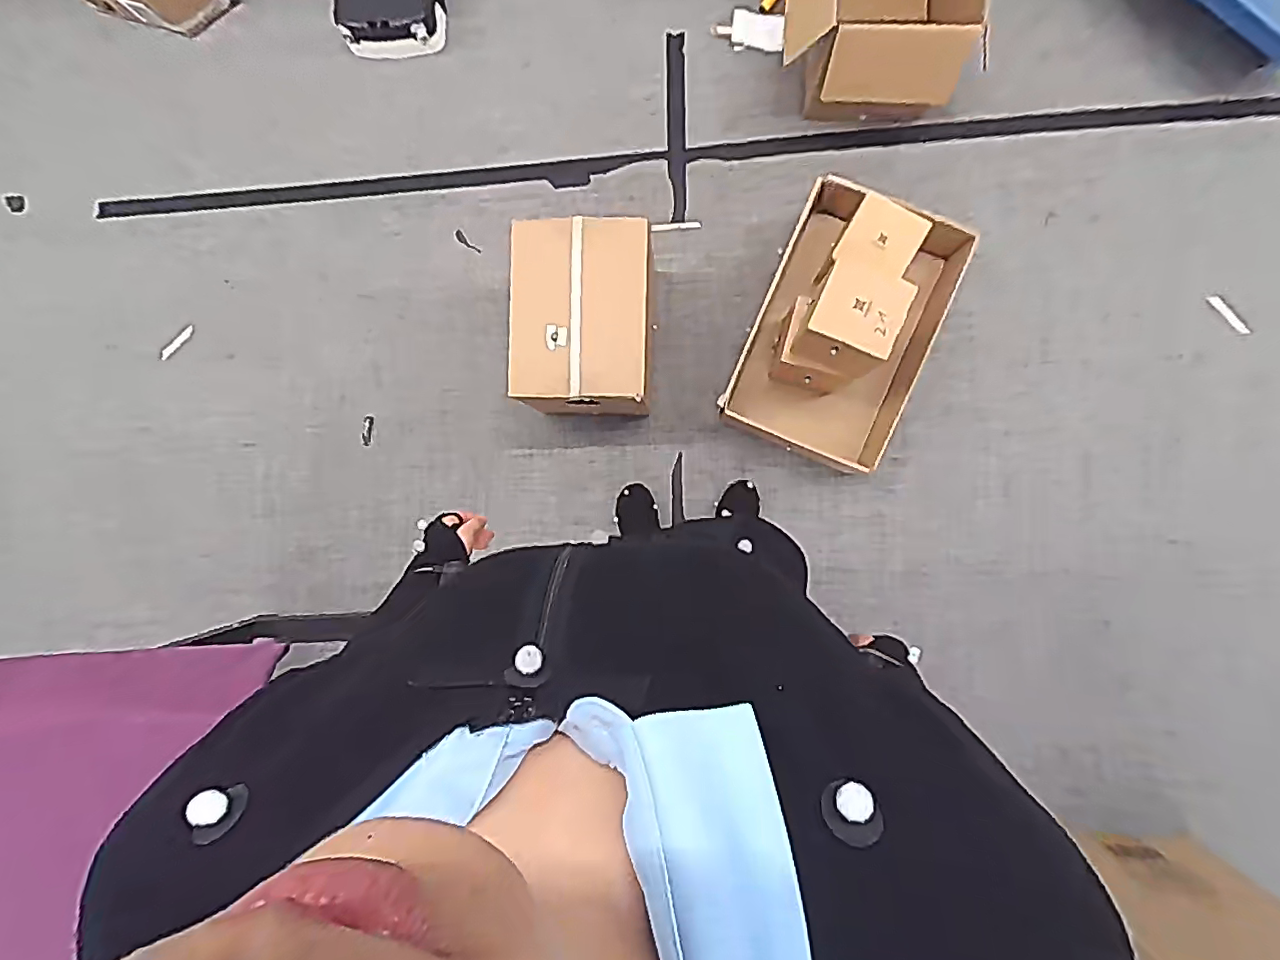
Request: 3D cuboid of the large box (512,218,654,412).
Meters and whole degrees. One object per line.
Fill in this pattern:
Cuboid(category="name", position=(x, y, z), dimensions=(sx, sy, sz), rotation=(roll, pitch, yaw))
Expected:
Cuboid(category="large box", position=(-0.123, -0.386, 1.354), dimensions=(0.320, 0.320, 0.408), rotation=(1, 91, 6))

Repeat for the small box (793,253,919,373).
Cuboid(category="small box", position=(0.452, -0.348, 1.164), dimensions=(0.179, 0.176, 0.168), rotation=(24, 90, 3))
